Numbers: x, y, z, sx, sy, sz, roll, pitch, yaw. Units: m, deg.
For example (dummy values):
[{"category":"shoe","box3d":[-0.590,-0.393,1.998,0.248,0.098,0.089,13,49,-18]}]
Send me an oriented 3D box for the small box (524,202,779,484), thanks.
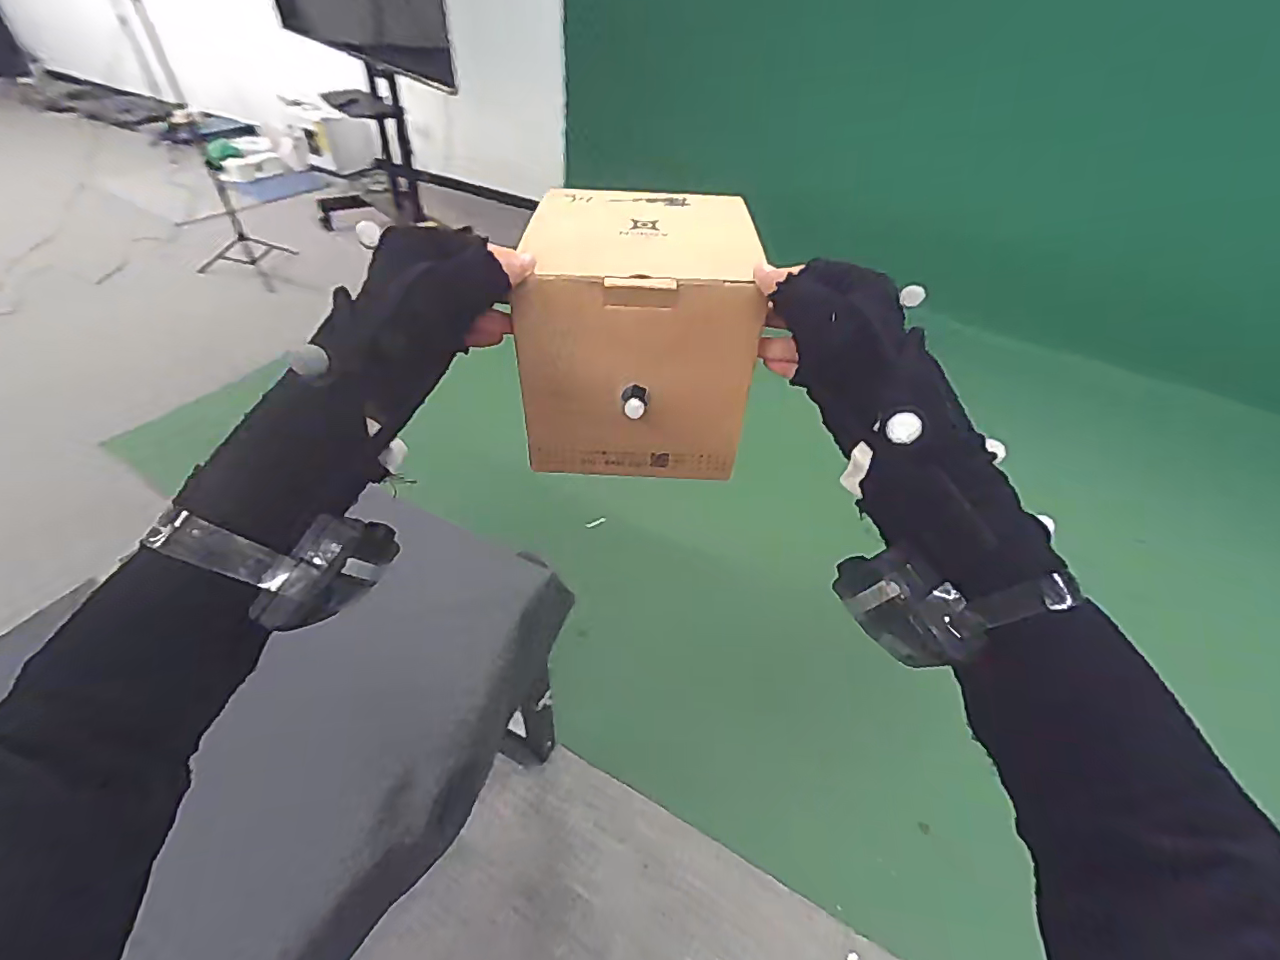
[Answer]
[{"category":"small box","box3d":[0.010,-0.113,0.453,0.168,0.176,0.179,4,44,0]}]
